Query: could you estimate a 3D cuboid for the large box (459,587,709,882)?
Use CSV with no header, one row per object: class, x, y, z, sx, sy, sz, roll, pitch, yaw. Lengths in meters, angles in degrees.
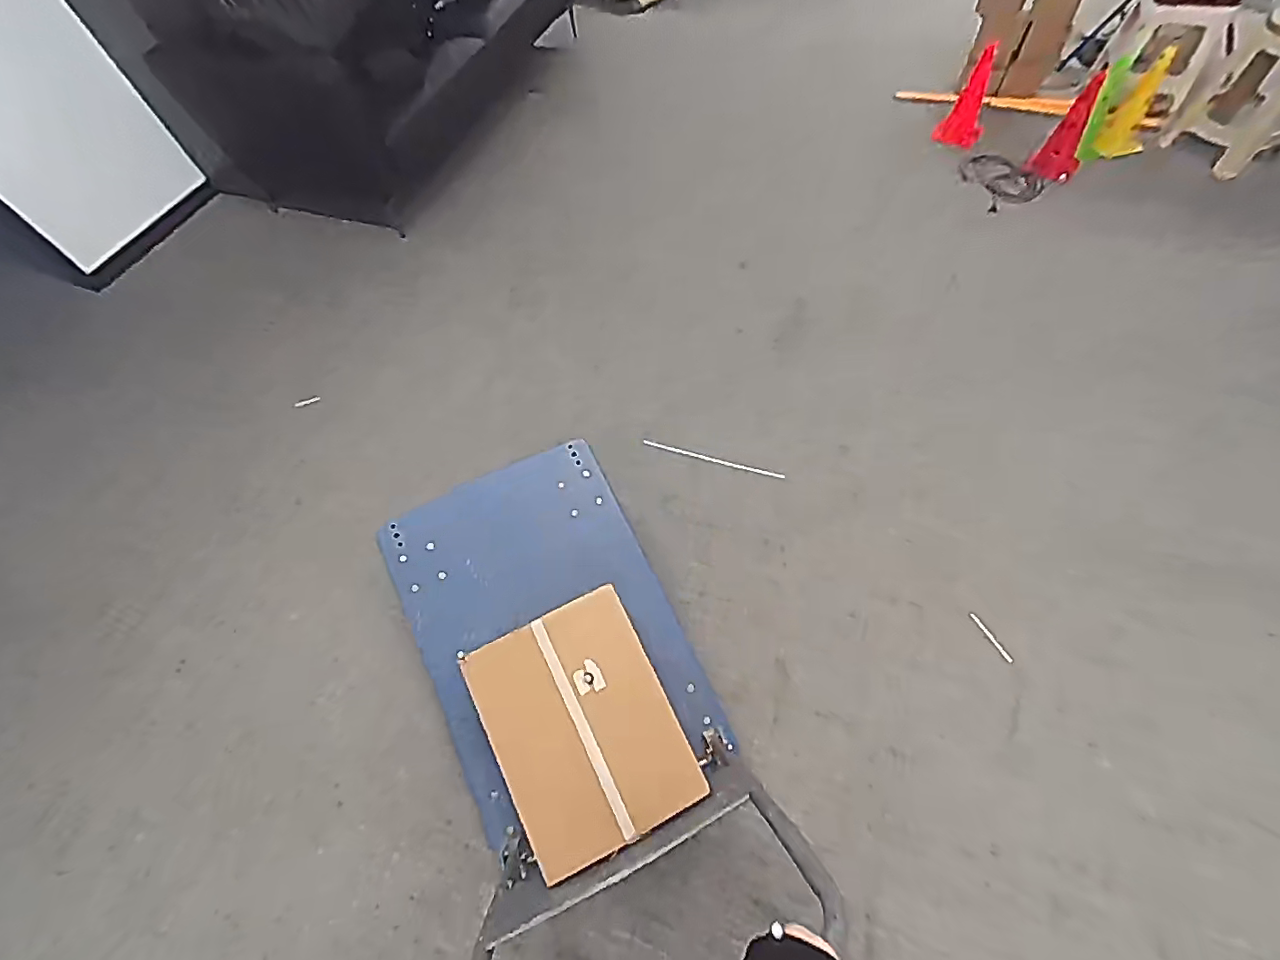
large box,-0.107,0.479,1.108,0.320,0.320,0.408,-26,76,-9
